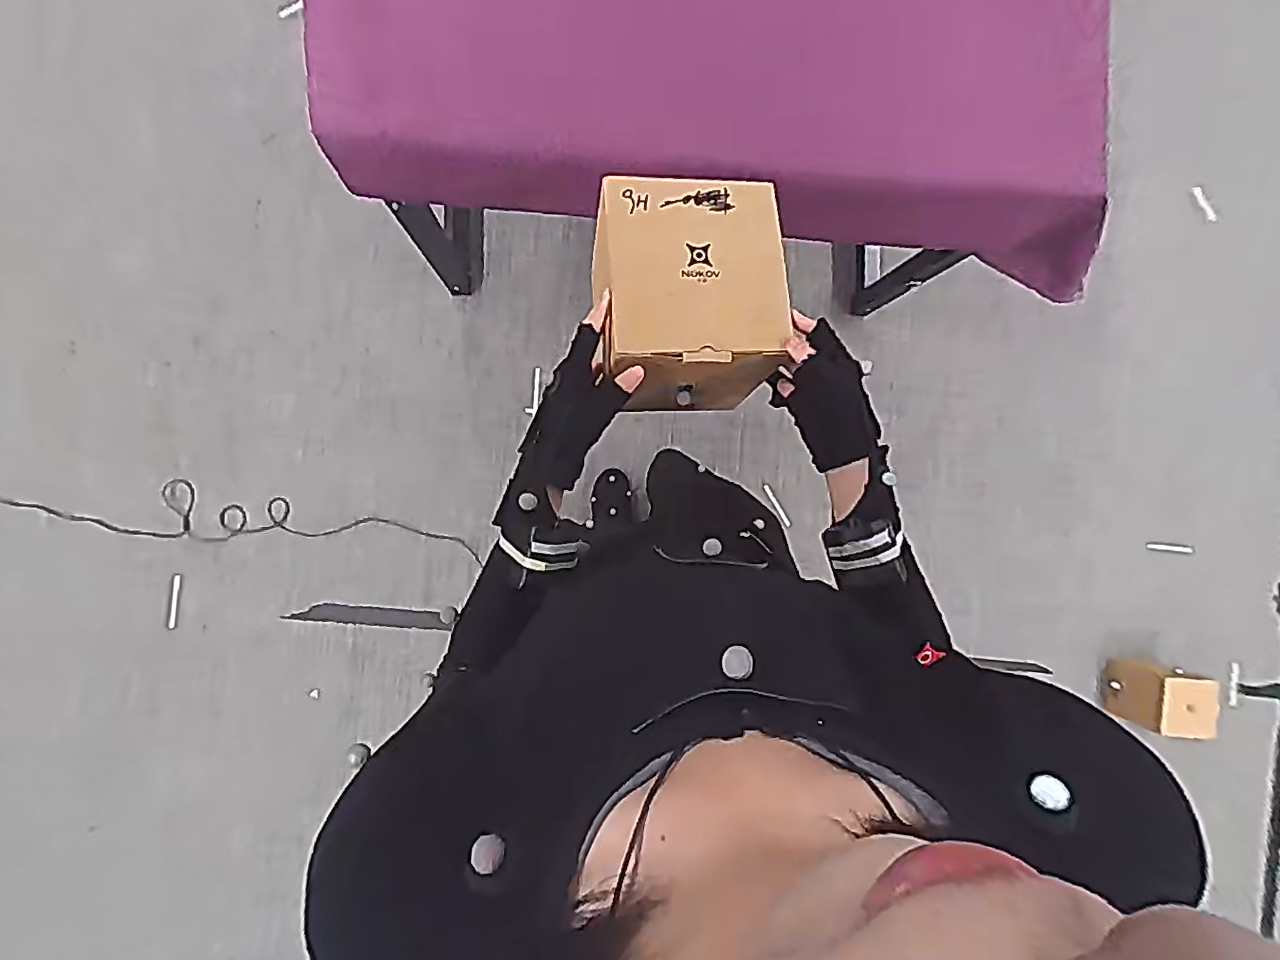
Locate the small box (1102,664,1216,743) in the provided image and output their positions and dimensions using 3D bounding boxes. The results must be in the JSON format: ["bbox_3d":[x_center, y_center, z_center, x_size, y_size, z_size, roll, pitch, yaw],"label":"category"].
[{"bbox_3d":[1.525,0.653,1.595,0.179,0.176,0.168,6,88,-5],"label":"small box"}]

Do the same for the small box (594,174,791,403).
[{"bbox_3d":[0.041,-0.183,0.567,0.168,0.176,0.179,-3,81,-9],"label":"small box"}]
